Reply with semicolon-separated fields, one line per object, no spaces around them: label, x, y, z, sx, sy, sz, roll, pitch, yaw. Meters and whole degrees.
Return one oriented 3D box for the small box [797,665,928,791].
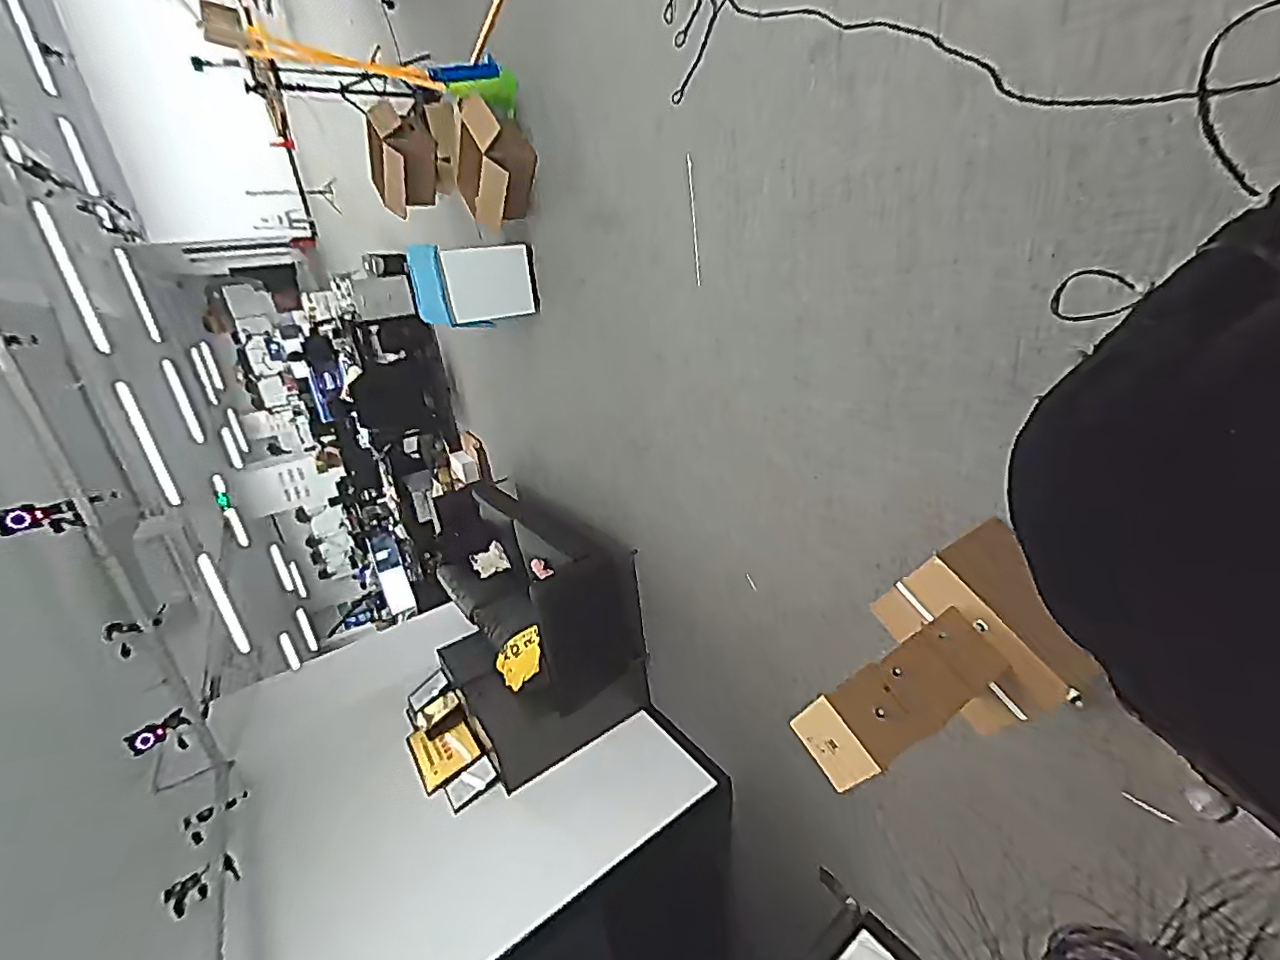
small box;0.484;0.531;1.171;0.168;0.176;0.179;54;147;30

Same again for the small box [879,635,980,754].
small box;0.628;0.492;1.243;0.179;0.176;0.168;54;147;29
